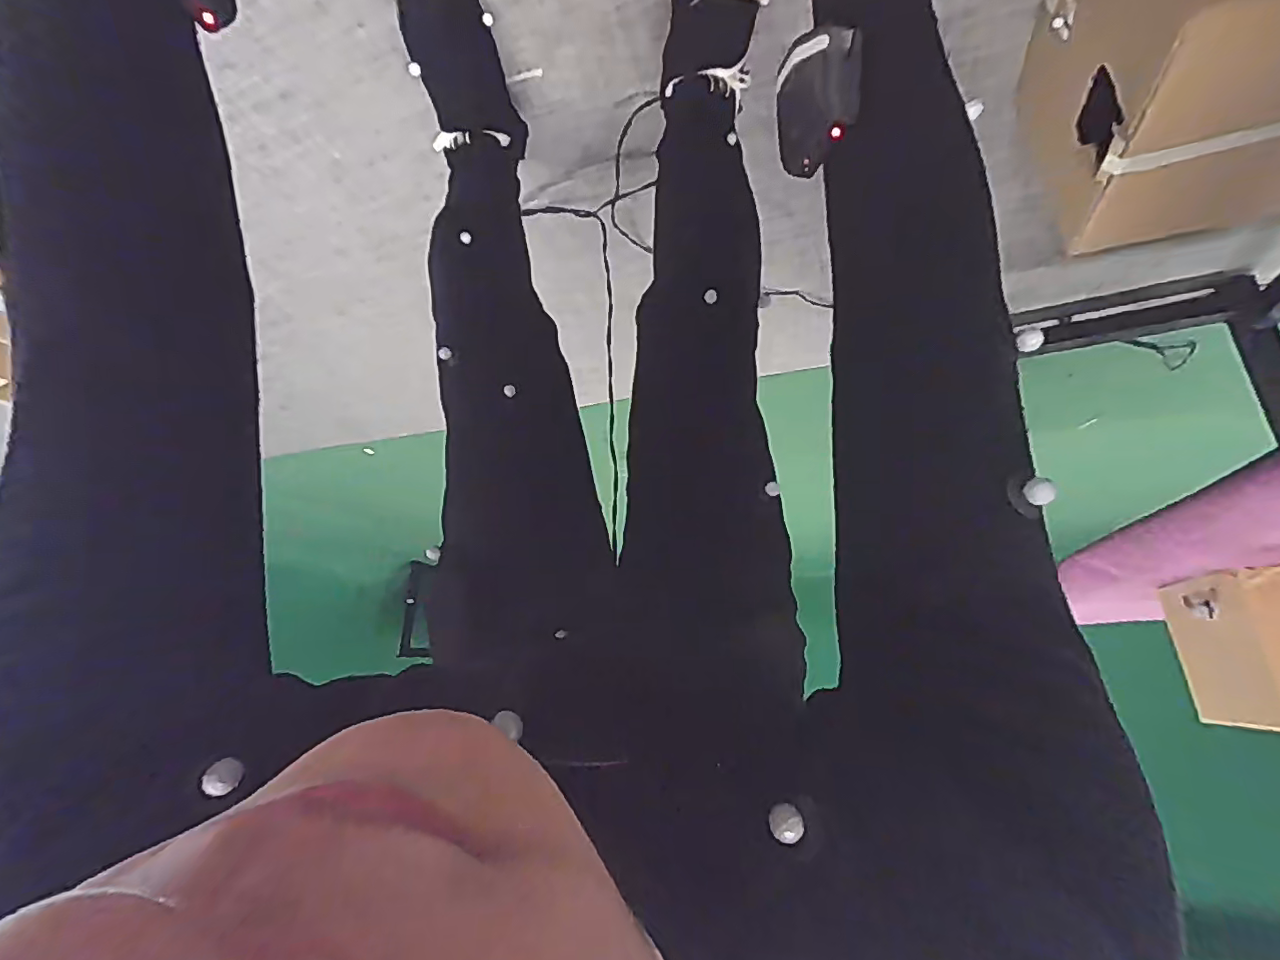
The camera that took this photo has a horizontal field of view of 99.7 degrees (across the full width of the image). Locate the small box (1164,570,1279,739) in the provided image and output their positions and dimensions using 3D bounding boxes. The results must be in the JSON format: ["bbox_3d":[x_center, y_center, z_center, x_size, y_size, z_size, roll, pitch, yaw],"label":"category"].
[{"bbox_3d":[0.744,0.189,0.591,0.179,0.176,0.168,-7,158,17],"label":"small box"}]

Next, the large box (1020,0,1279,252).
[{"bbox_3d":[0.708,-0.519,0.580,0.408,0.320,0.320,-8,159,19],"label":"large box"}]

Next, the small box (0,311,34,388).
[{"bbox_3d":[-1.566,-0.315,1.235,0.168,0.176,0.179,-9,159,22],"label":"small box"}]
